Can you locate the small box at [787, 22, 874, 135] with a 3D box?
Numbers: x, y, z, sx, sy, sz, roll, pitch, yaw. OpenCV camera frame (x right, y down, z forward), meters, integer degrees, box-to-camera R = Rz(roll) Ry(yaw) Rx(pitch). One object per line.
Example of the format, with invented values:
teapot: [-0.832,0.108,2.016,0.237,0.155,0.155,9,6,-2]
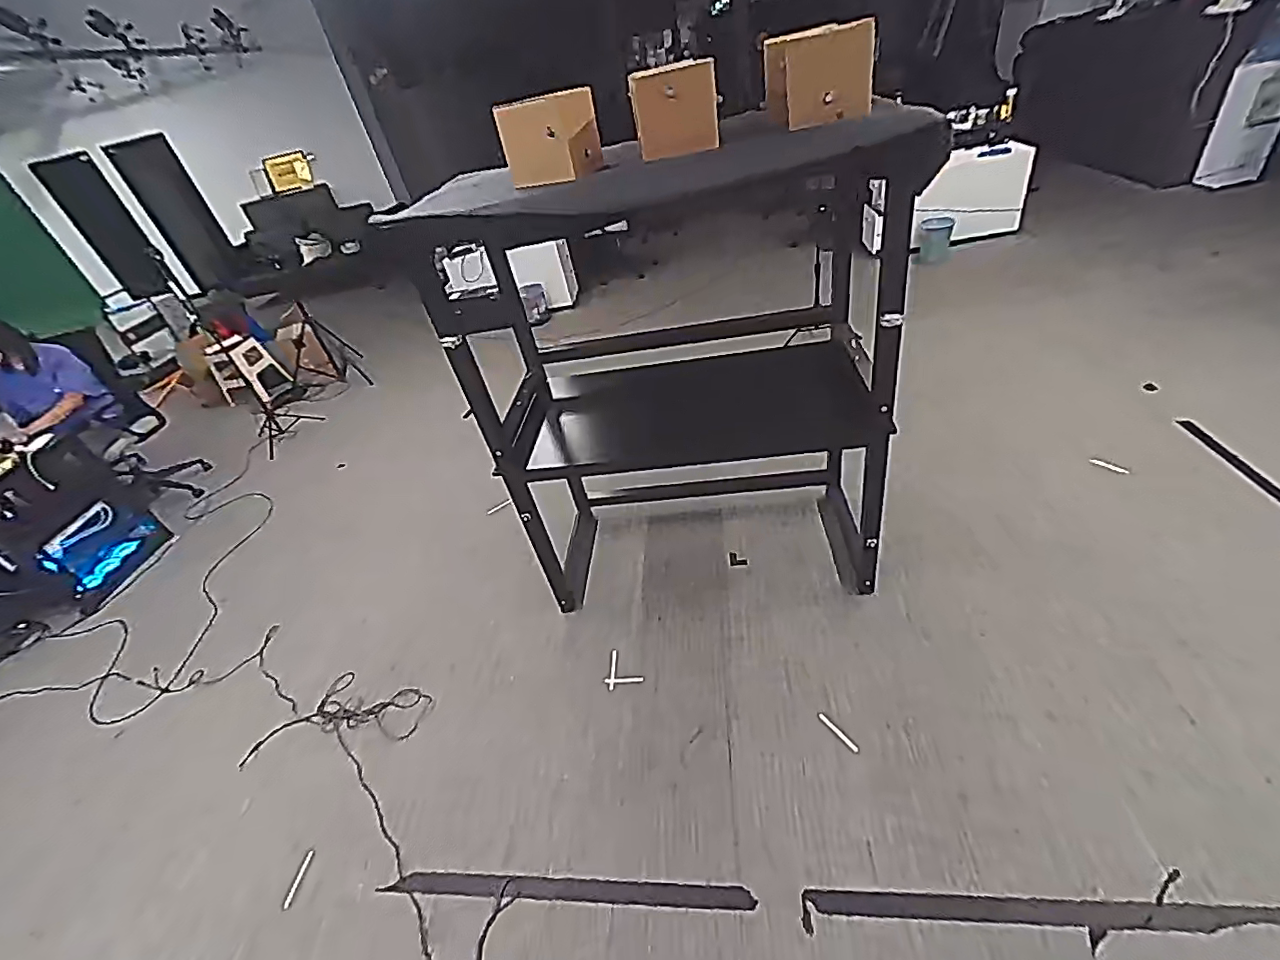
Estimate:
small box: [0.407,-0.870,1.178,0.168,0.176,0.179,-2,39,16]

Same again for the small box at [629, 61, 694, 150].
small box: [0.073,-0.997,1.444,0.168,0.176,0.179,-6,38,10]

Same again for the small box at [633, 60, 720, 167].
small box: [0.091,-0.842,1.245,0.179,0.176,0.168,-6,38,10]
